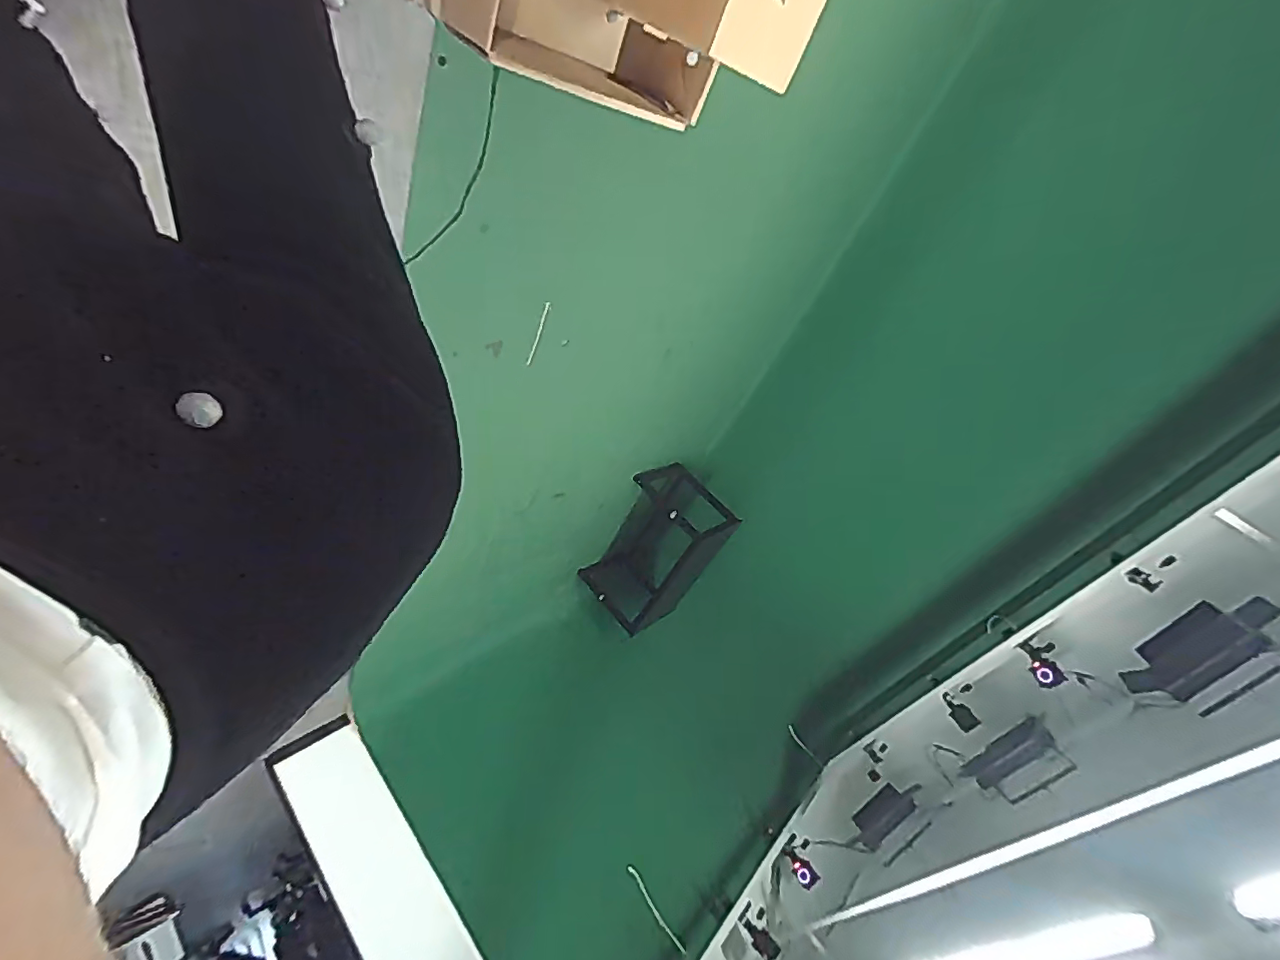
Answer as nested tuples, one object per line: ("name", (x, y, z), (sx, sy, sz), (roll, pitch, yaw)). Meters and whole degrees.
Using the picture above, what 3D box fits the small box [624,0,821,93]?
("small box", (0.100, -0.590, 0.615), (0.168, 0.176, 0.179), (-19, 146, -44))
